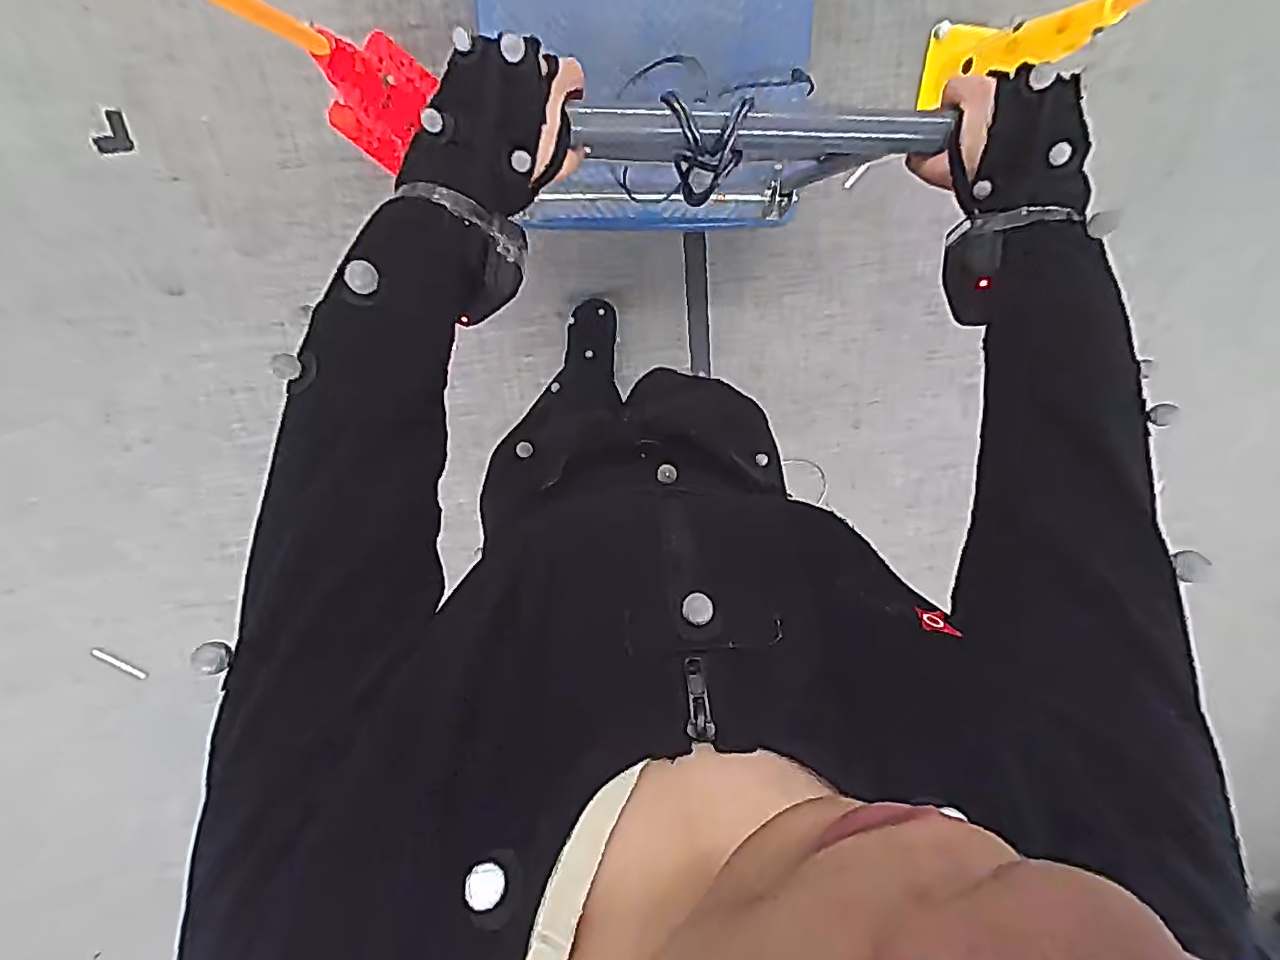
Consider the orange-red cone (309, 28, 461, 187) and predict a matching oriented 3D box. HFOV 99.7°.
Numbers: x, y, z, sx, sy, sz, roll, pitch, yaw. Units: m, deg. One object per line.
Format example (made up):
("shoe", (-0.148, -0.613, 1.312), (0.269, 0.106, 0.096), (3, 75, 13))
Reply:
("orange-red cone", (-0.458, -0.658, 0.901), (0.198, 0.360, 0.199), (37, 101, -19))
